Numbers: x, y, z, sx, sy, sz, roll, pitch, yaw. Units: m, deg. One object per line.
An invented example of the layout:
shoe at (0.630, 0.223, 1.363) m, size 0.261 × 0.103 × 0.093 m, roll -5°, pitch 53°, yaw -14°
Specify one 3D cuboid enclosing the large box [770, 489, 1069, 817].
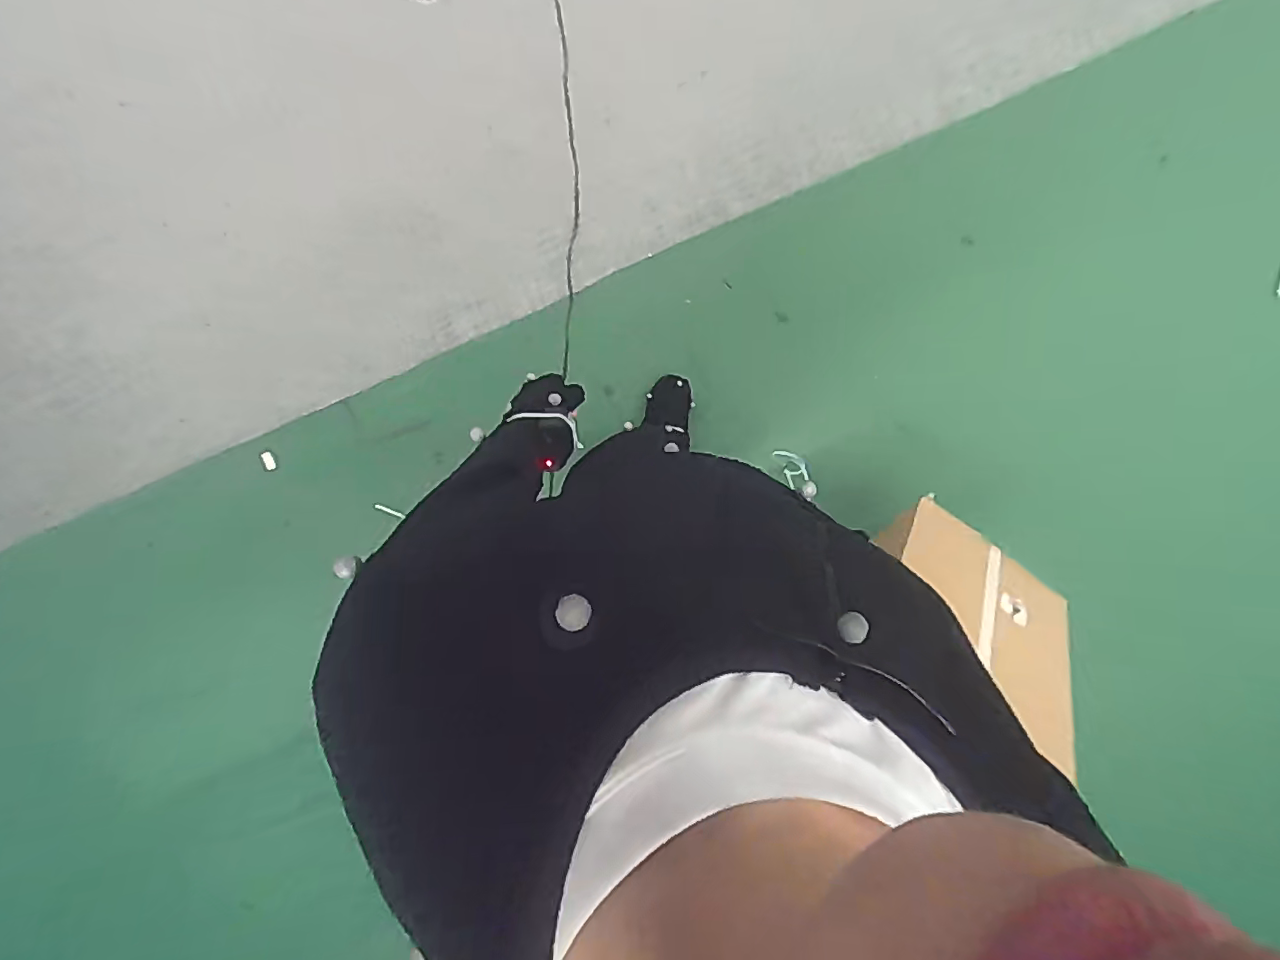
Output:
large box at (0.493, 0.298, 0.978) m, size 0.320 × 0.408 × 0.320 m, roll 39°, pitch 133°, yaw 8°
